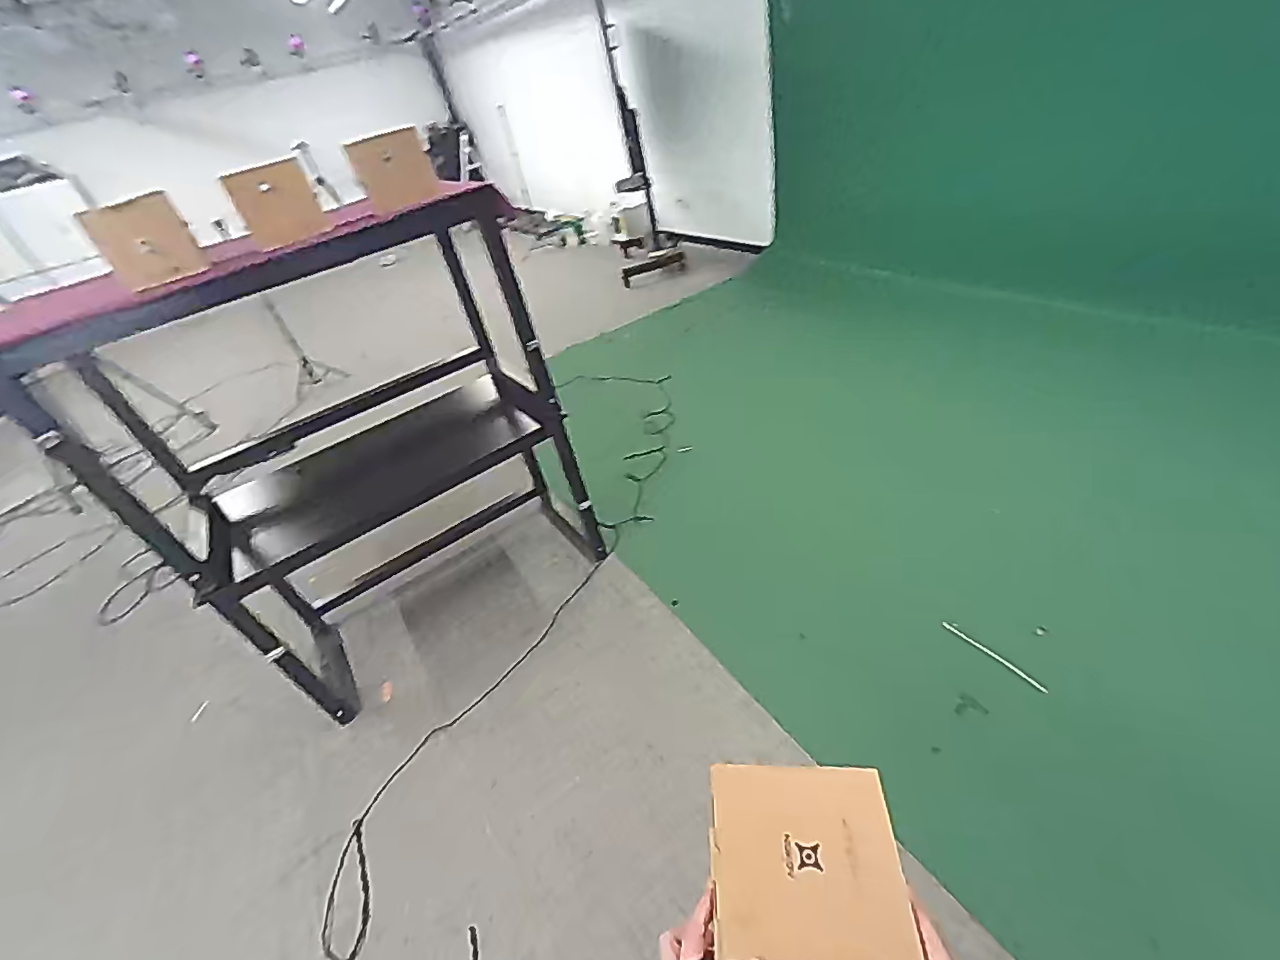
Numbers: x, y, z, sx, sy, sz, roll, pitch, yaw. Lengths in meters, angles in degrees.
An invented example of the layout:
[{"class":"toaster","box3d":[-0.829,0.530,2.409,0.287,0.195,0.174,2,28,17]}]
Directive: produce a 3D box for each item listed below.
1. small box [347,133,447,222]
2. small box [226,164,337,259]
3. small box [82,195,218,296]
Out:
[{"class":"small box","box3d":[-0.645,-0.803,1.438,0.179,0.176,0.168,-28,40,-17]},{"class":"small box","box3d":[-0.882,-0.670,1.344,0.179,0.176,0.168,-31,39,-19]},{"class":"small box","box3d":[-1.111,-0.539,1.244,0.168,0.176,0.179,-30,39,-21]}]
